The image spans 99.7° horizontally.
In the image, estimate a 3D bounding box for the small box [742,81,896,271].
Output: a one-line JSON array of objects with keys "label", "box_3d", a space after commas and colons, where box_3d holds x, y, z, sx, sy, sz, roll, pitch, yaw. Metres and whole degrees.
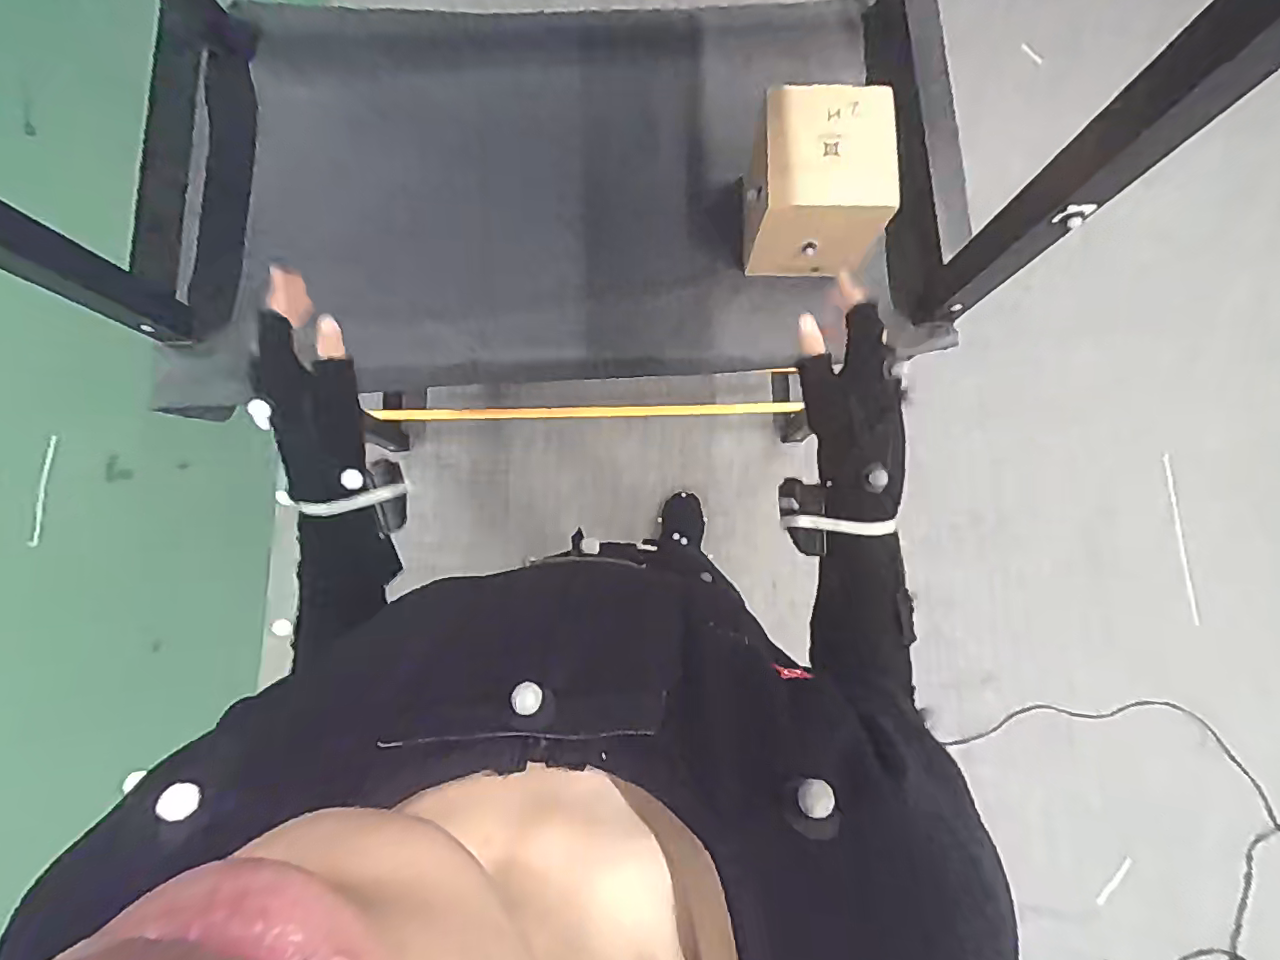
[{"label": "small box", "box_3d": [0.241, -0.416, 0.764, 0.168, 0.176, 0.179, 2, 81, 0]}]
